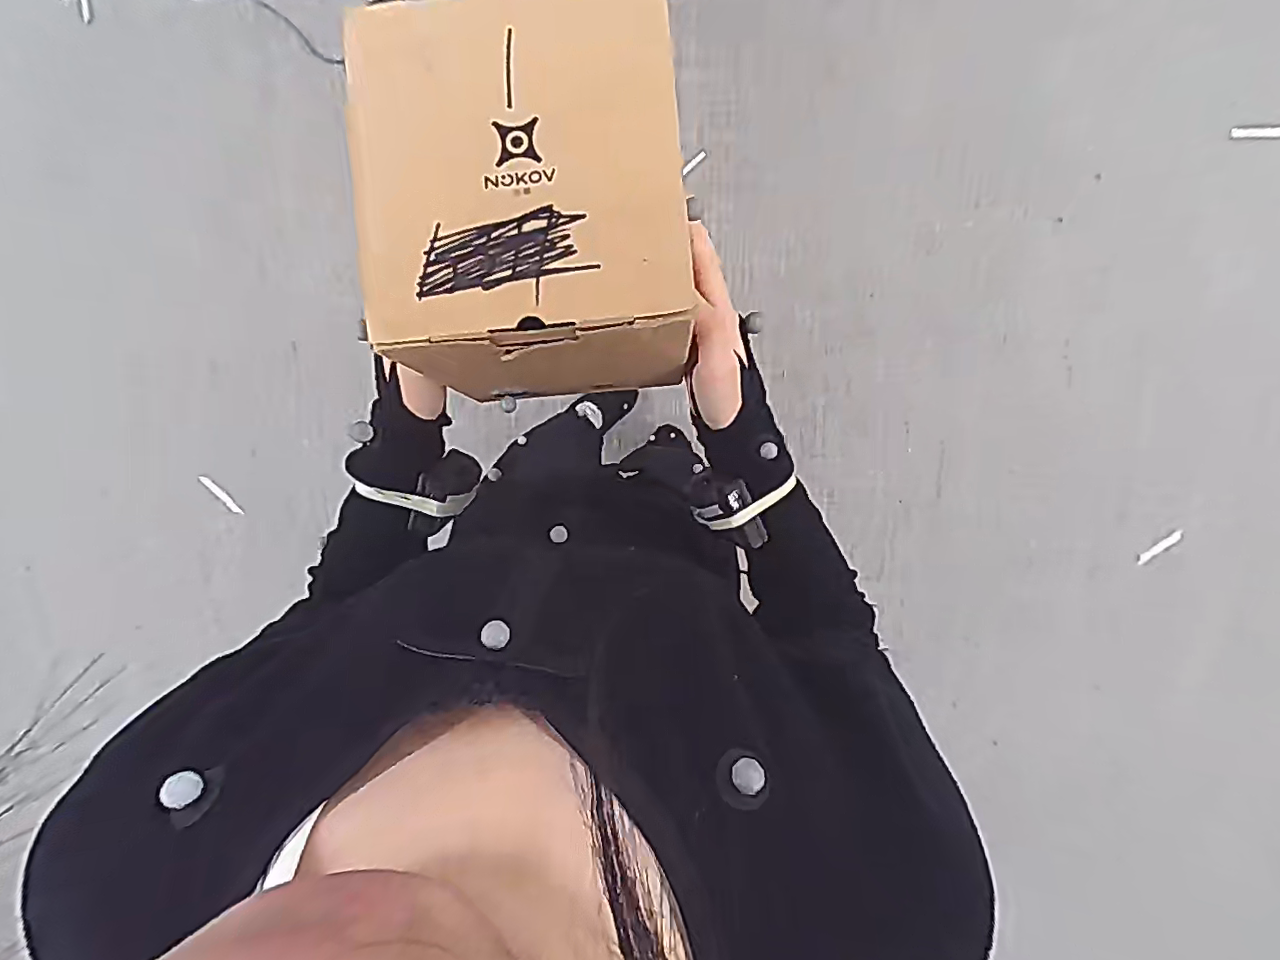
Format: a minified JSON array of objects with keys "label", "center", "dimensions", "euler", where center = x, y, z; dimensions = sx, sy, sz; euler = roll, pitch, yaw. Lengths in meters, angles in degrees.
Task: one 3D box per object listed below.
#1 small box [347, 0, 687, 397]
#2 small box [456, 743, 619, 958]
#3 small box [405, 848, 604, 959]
[{"label":"small box","center":[-0.059,-0.154,0.353],"dimensions":[0.168,0.176,0.179],"euler":[-6,88,2]},{"label":"small box","center":[-0.117,0.466,0.684],"dimensions":[0.168,0.176,0.179],"euler":[-1,97,3]},{"label":"small box","center":[-0.127,0.495,0.523],"dimensions":[0.168,0.176,0.179],"euler":[-1,97,4]}]
